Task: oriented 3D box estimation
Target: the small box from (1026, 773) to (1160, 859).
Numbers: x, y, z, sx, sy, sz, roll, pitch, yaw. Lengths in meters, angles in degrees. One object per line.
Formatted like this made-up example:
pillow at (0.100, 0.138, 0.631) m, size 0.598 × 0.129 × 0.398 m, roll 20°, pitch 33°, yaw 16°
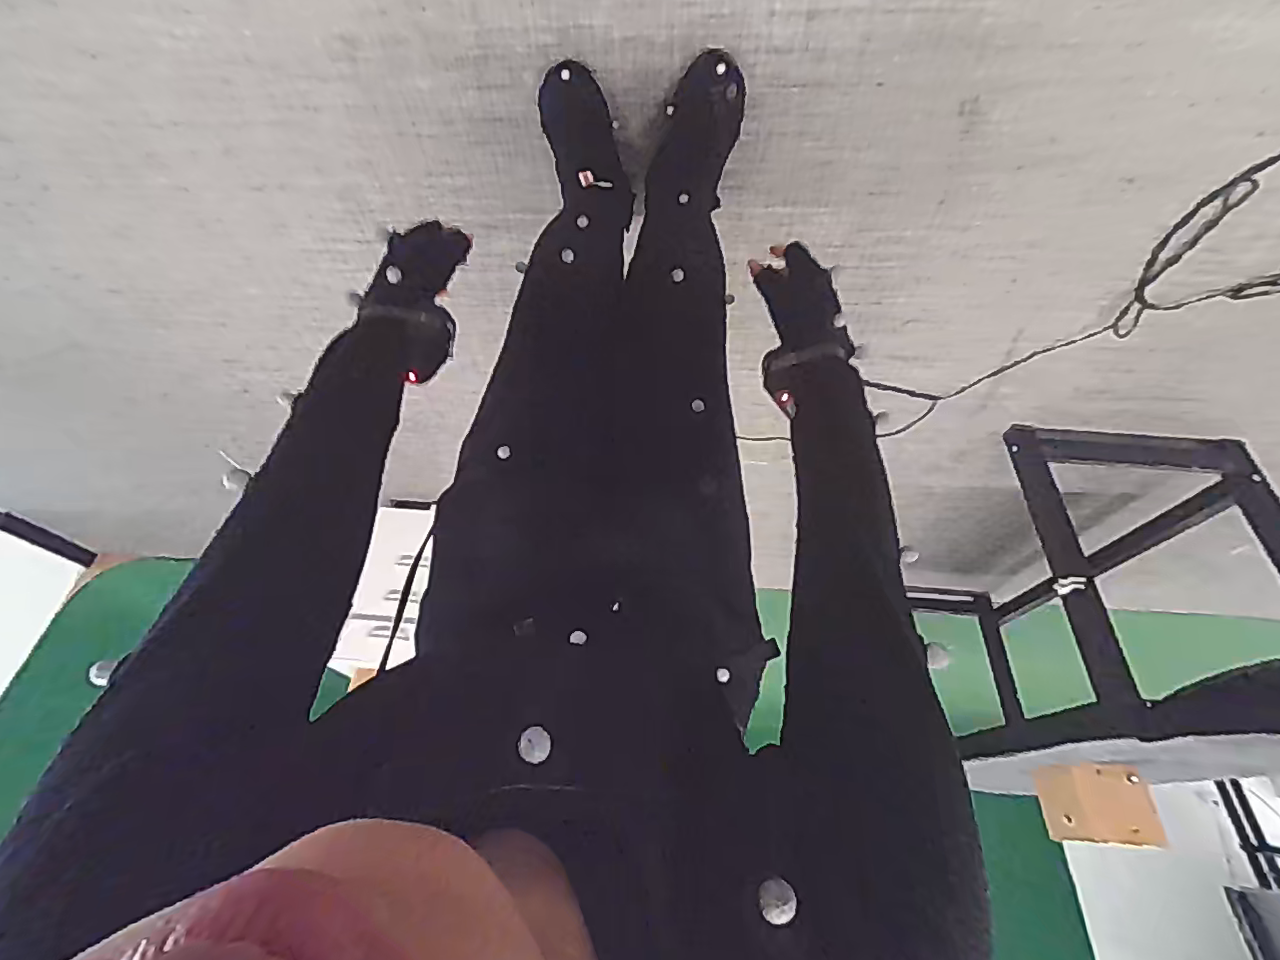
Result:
small box at (1.108, 0.833, 1.345) m, size 0.168 × 0.176 × 0.179 m, roll 3°, pitch 147°, yaw 3°
